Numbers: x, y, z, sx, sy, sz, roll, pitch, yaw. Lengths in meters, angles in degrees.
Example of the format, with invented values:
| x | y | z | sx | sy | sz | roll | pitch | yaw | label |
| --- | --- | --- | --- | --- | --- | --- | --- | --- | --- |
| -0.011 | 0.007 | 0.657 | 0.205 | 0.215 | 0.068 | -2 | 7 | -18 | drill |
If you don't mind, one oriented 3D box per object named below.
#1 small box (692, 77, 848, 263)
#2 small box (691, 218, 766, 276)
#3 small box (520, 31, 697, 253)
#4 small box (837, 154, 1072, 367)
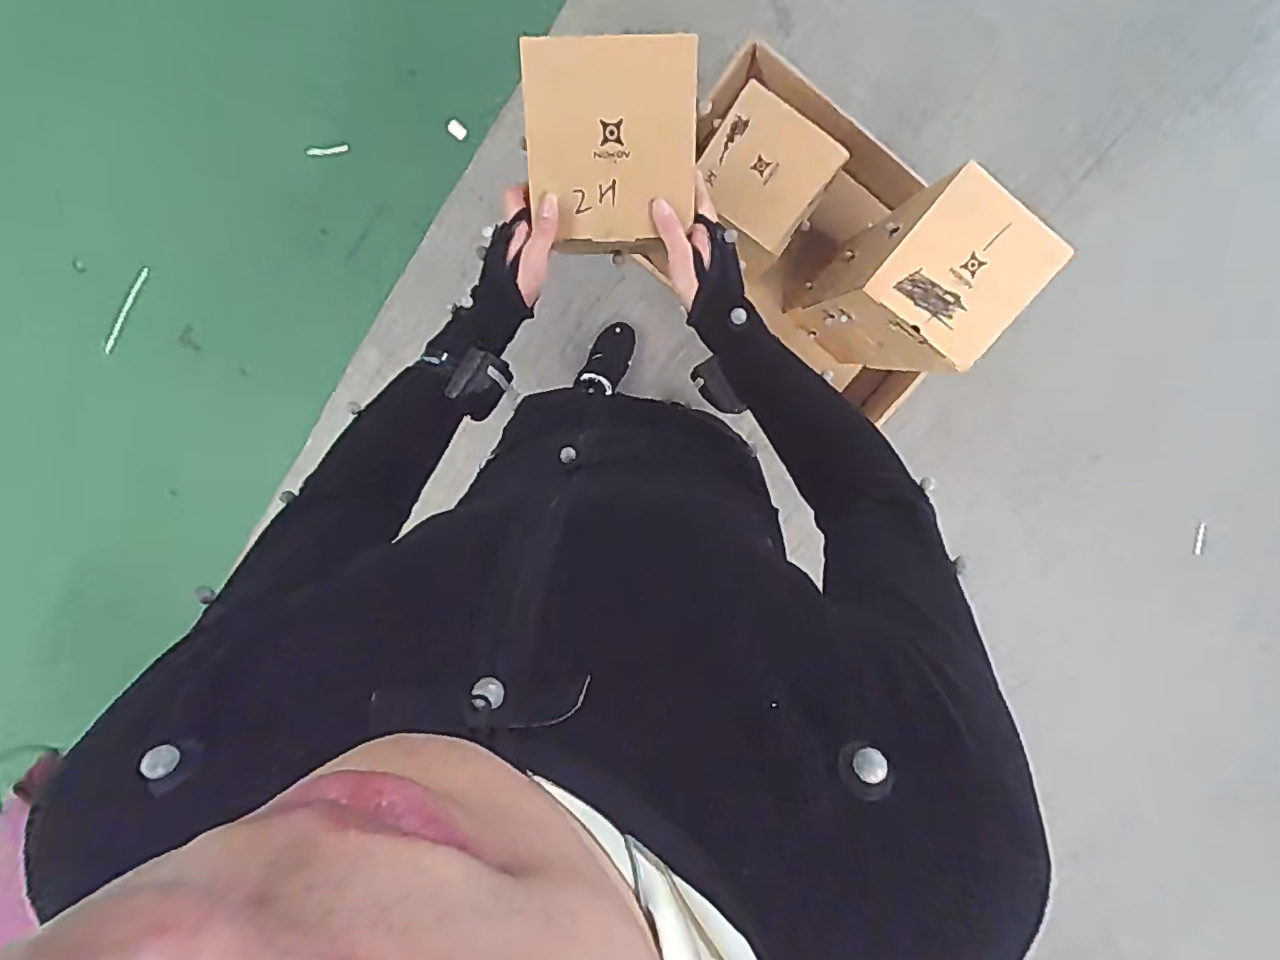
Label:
| x | y | z | sx | sy | sz | roll | pitch | yaw | label |
| --- | --- | --- | --- | --- | --- | --- | --- | --- | --- |
| 0.181 | -0.460 | 0.840 | 0.179 | 0.176 | 0.168 | 35 | 103 | -5 | small box |
| 0.192 | -0.499 | 0.999 | 0.179 | 0.176 | 0.168 | 36 | 103 | -6 | small box |
| -0.029 | -0.351 | 0.595 | 0.168 | 0.176 | 0.179 | 0 | 109 | 1 | small box |
| 0.382 | -0.266 | 0.702 | 0.168 | 0.176 | 0.179 | 38 | 102 | -5 | small box |
